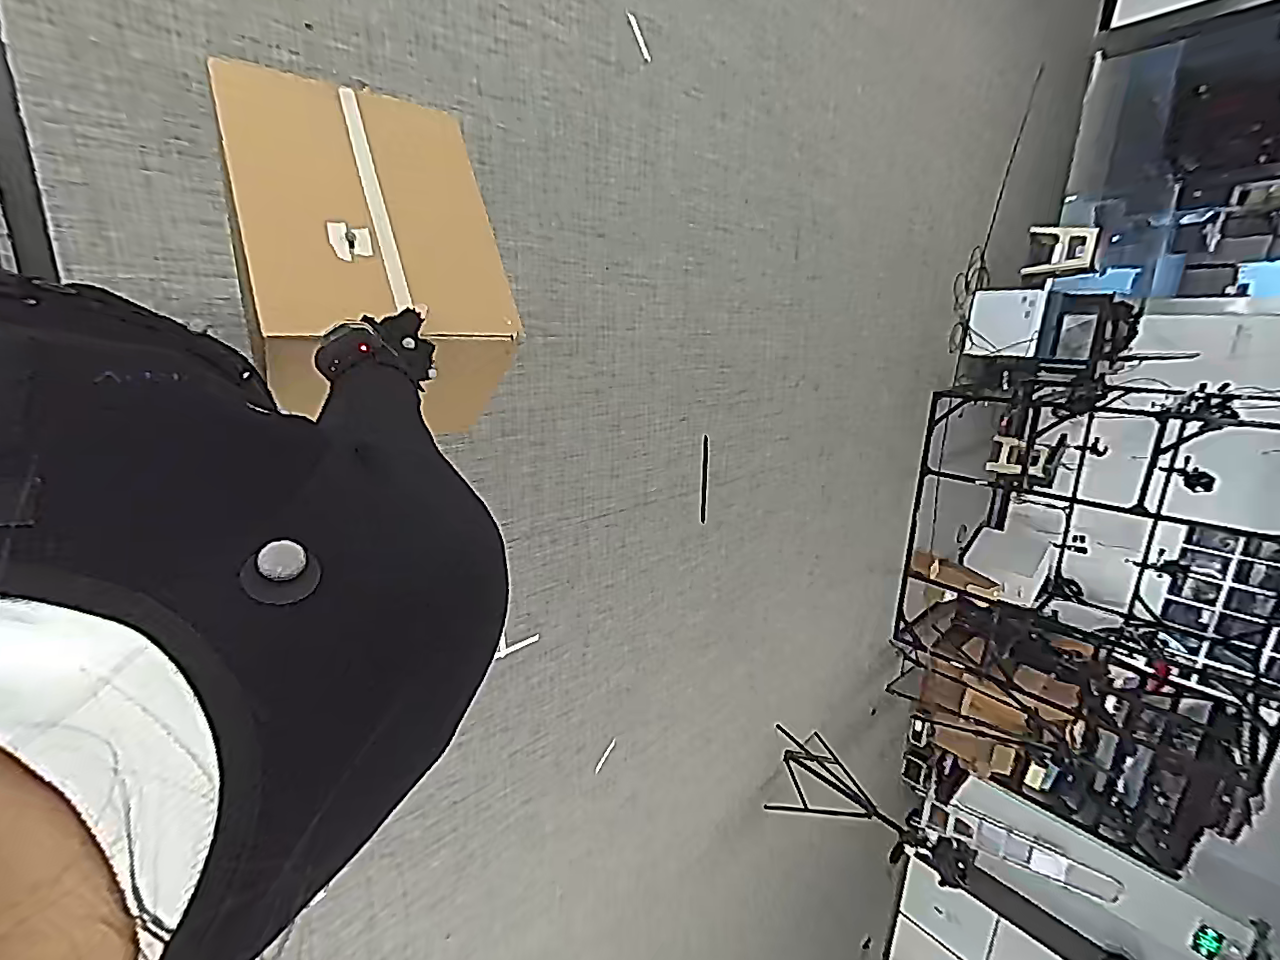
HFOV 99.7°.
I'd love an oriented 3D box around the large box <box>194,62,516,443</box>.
[{"bbox_3d":[-0.436,-0.310,0.835,0.320,0.320,0.408,-12,78,-34],"label":"large box"}]
